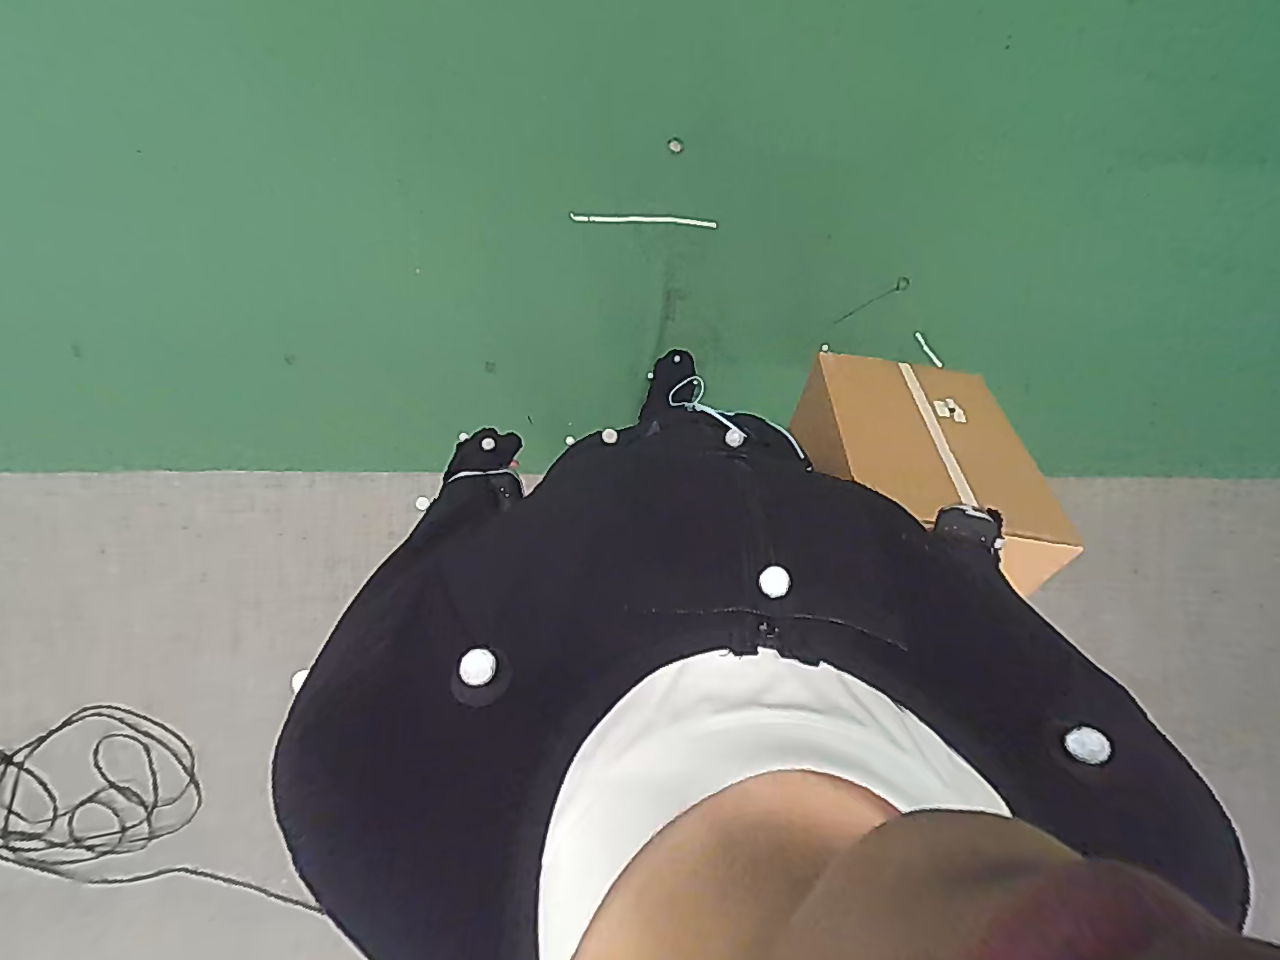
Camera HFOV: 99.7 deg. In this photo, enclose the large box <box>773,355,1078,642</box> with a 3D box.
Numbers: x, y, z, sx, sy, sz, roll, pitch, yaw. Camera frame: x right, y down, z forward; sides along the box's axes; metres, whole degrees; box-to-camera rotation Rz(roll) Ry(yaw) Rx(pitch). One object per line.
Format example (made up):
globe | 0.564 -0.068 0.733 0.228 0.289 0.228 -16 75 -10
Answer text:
large box | 0.450 0.030 0.979 0.320 0.408 0.320 9 135 -2
